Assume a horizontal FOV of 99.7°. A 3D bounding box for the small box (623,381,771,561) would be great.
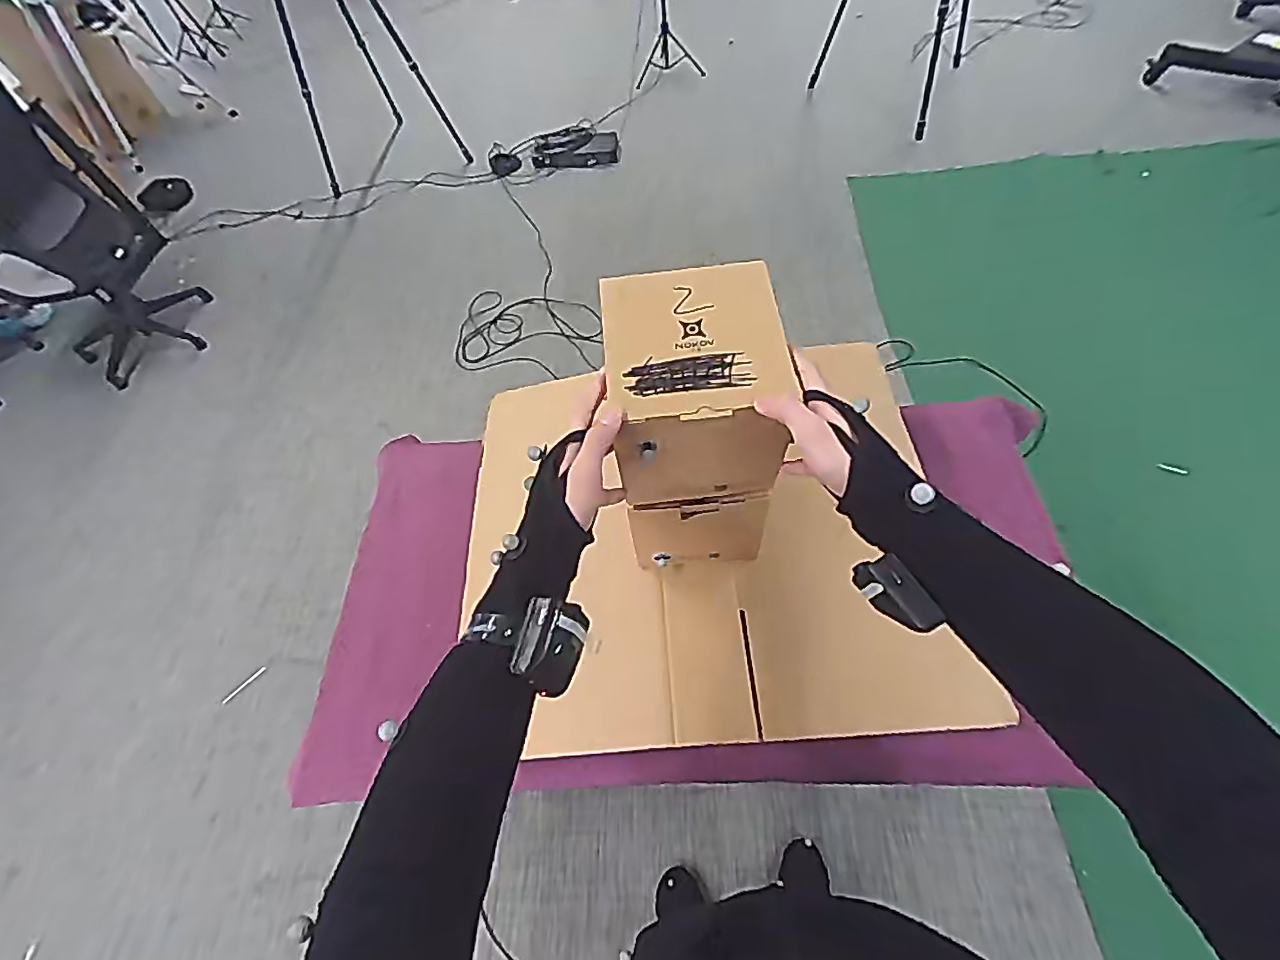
[{"bbox_3d":[0.070,-0.002,0.710,0.168,0.176,0.179,-5,57,2],"label":"small box"}]
